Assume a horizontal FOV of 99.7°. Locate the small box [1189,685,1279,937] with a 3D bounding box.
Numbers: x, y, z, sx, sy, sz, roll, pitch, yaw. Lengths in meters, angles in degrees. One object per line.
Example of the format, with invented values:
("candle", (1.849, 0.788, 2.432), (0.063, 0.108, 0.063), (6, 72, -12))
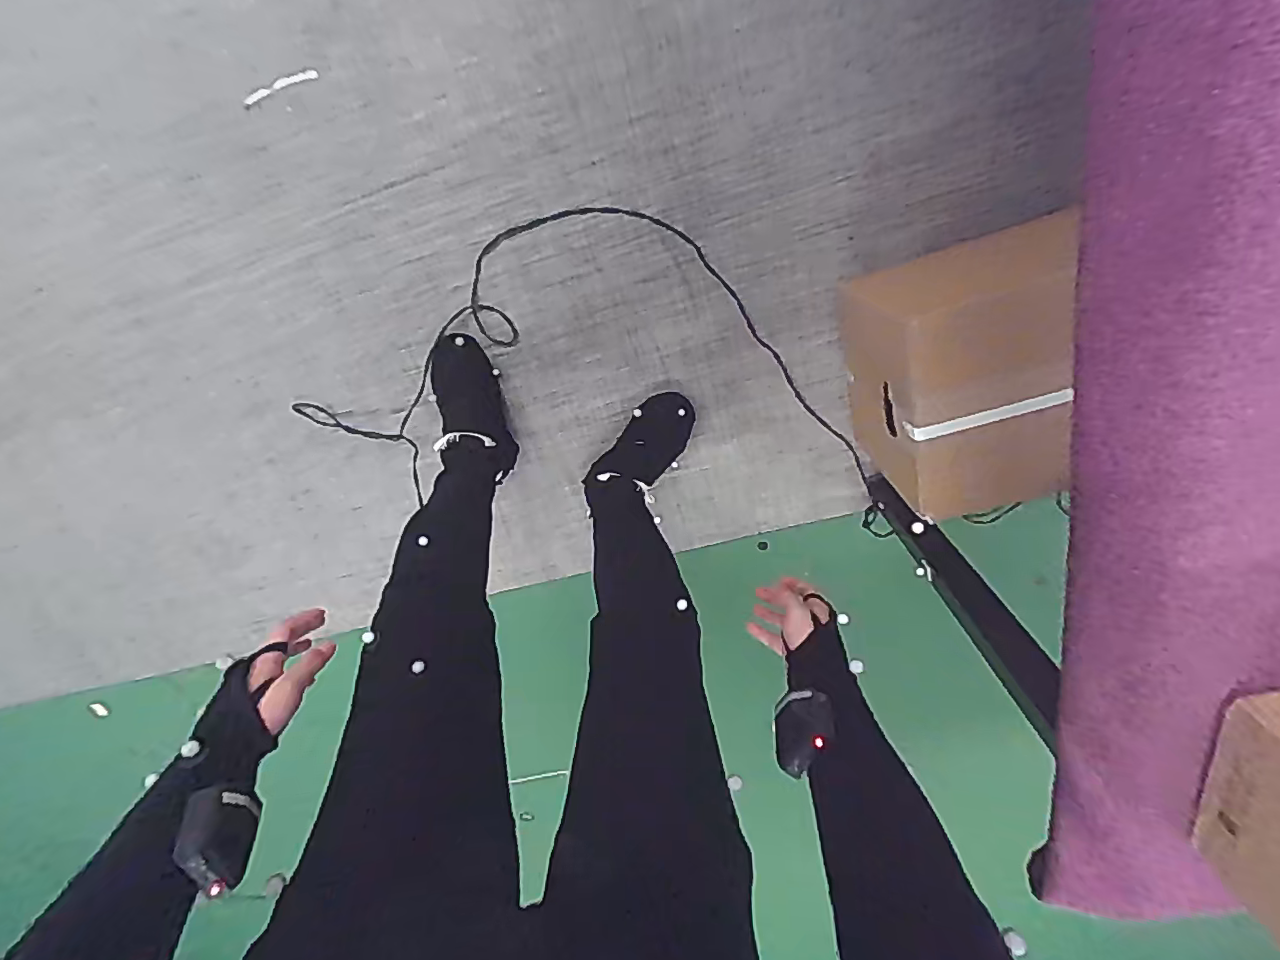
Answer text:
("small box", (0.489, 0.223, 0.306), (0.179, 0.176, 0.168), (-14, 114, 6))
